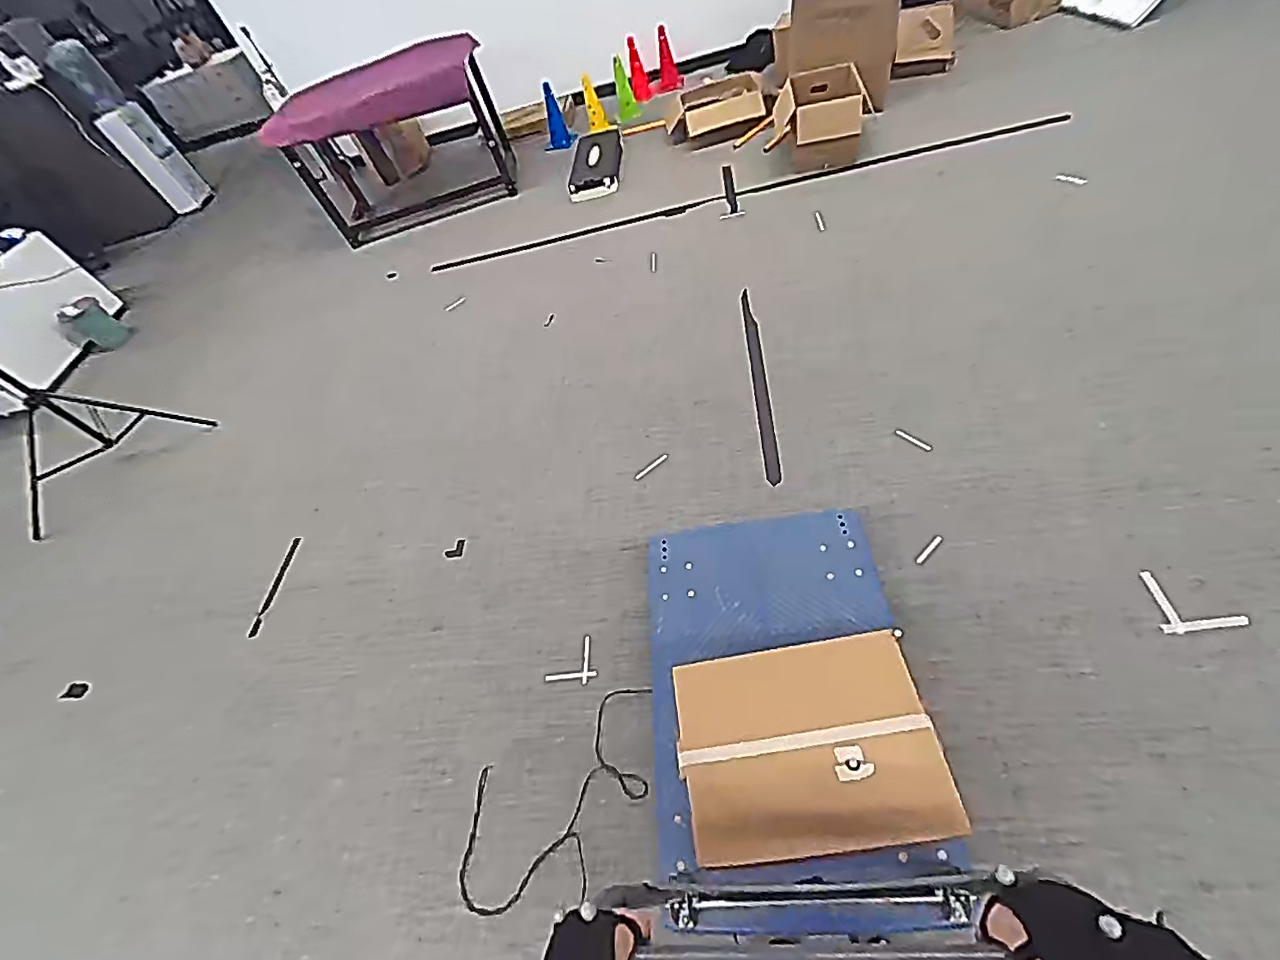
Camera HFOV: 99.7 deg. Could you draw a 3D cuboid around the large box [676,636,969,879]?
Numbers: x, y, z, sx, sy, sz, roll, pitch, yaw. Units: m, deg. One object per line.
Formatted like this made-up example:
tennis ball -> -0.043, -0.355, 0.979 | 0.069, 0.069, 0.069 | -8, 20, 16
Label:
large box -> 0.305, 0.529, 1.012 | 0.408, 0.320, 0.320 | -12, 52, 6
